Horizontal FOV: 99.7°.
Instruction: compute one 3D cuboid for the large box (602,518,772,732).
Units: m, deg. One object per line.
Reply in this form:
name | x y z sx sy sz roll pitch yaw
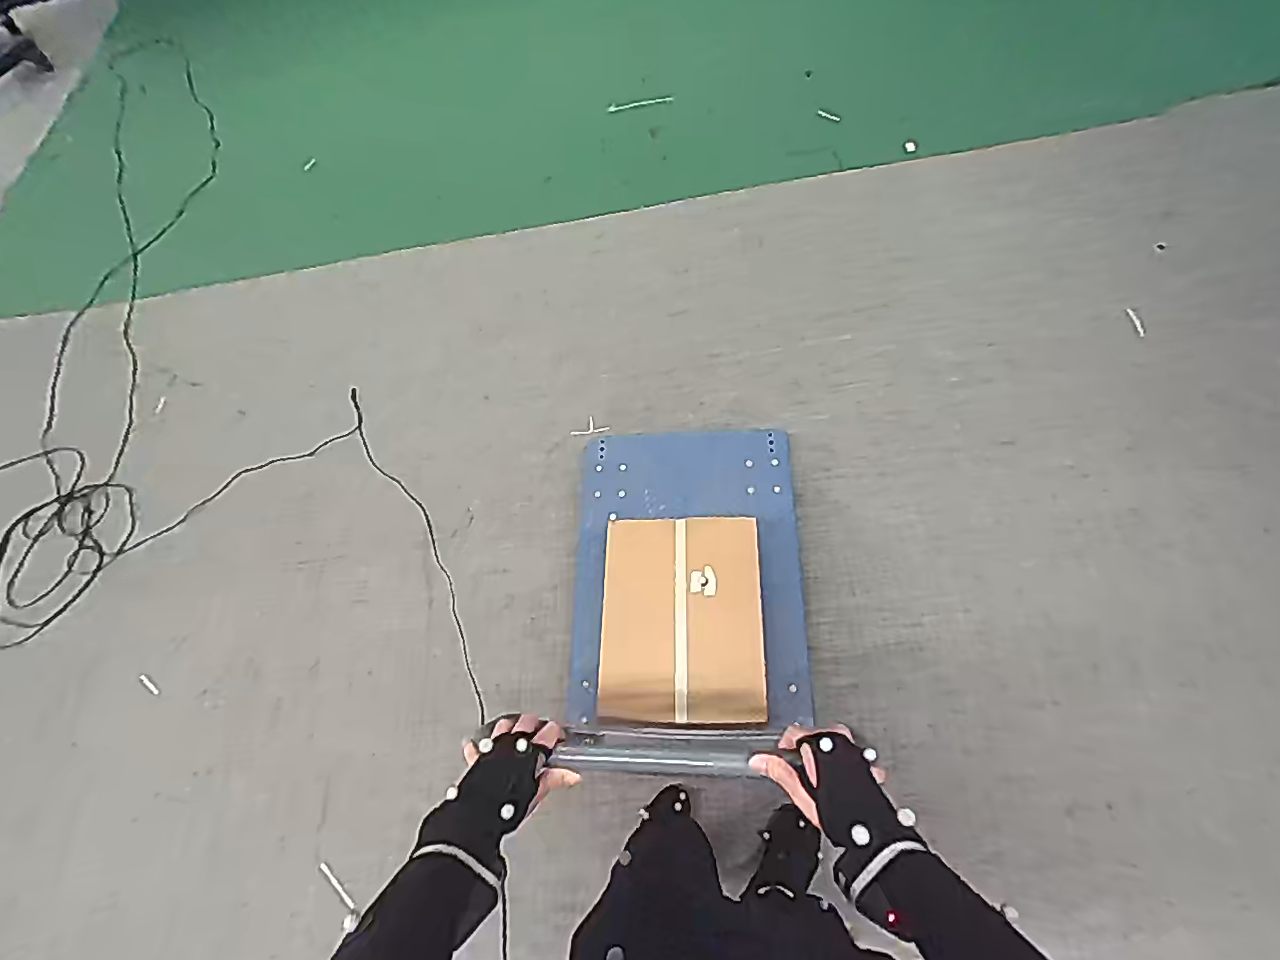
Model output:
large box | 0.104 0.329 1.188 0.320 0.320 0.408 -2 65 7
